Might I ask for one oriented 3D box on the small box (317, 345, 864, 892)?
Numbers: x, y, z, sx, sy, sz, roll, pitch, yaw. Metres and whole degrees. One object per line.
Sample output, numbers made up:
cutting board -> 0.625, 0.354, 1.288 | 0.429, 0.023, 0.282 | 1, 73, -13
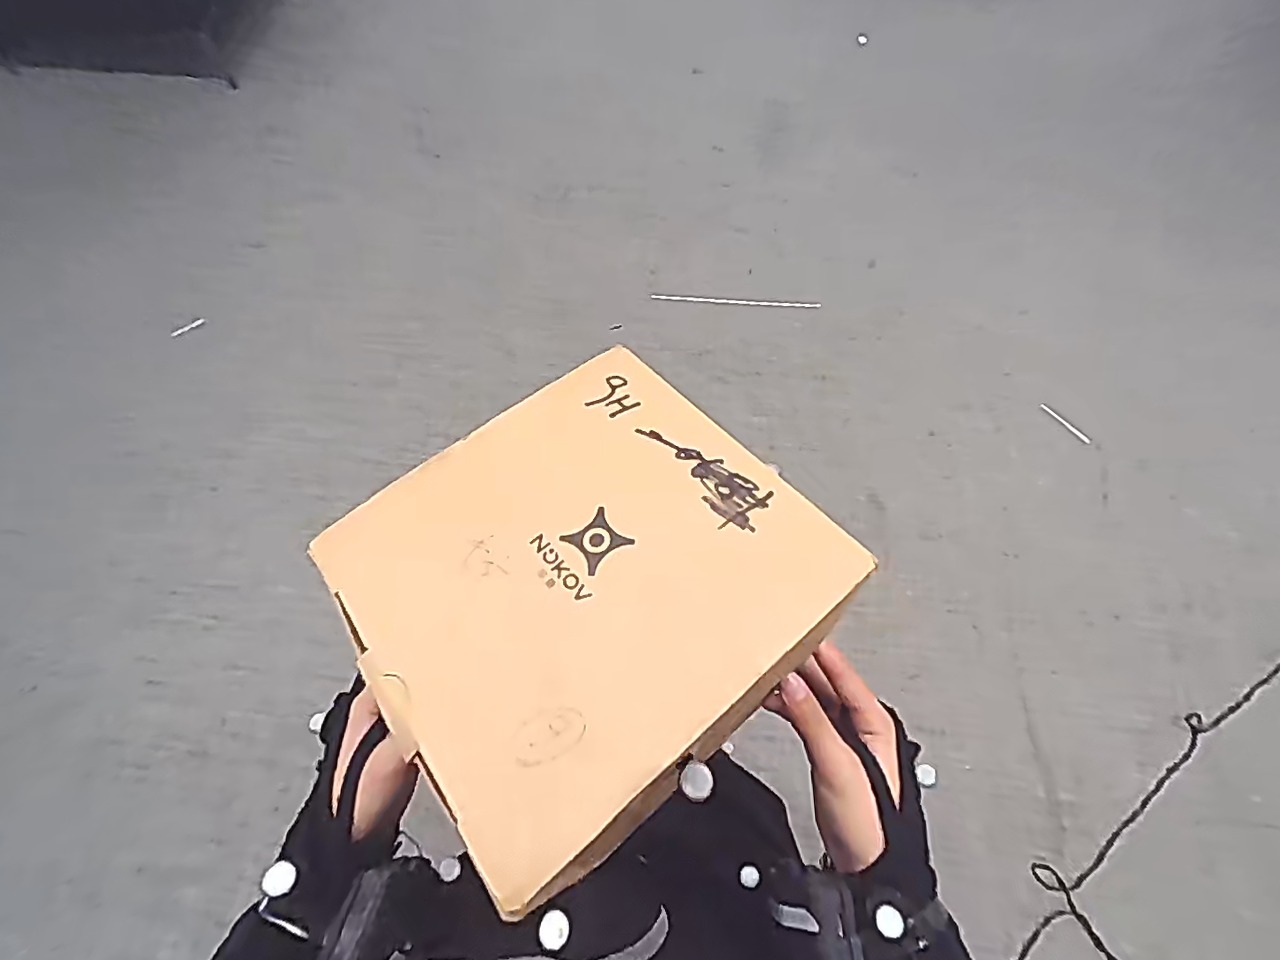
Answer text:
small box -> -0.019, 0.071, 0.290 | 0.179, 0.176, 0.168 | -36, 62, -17
